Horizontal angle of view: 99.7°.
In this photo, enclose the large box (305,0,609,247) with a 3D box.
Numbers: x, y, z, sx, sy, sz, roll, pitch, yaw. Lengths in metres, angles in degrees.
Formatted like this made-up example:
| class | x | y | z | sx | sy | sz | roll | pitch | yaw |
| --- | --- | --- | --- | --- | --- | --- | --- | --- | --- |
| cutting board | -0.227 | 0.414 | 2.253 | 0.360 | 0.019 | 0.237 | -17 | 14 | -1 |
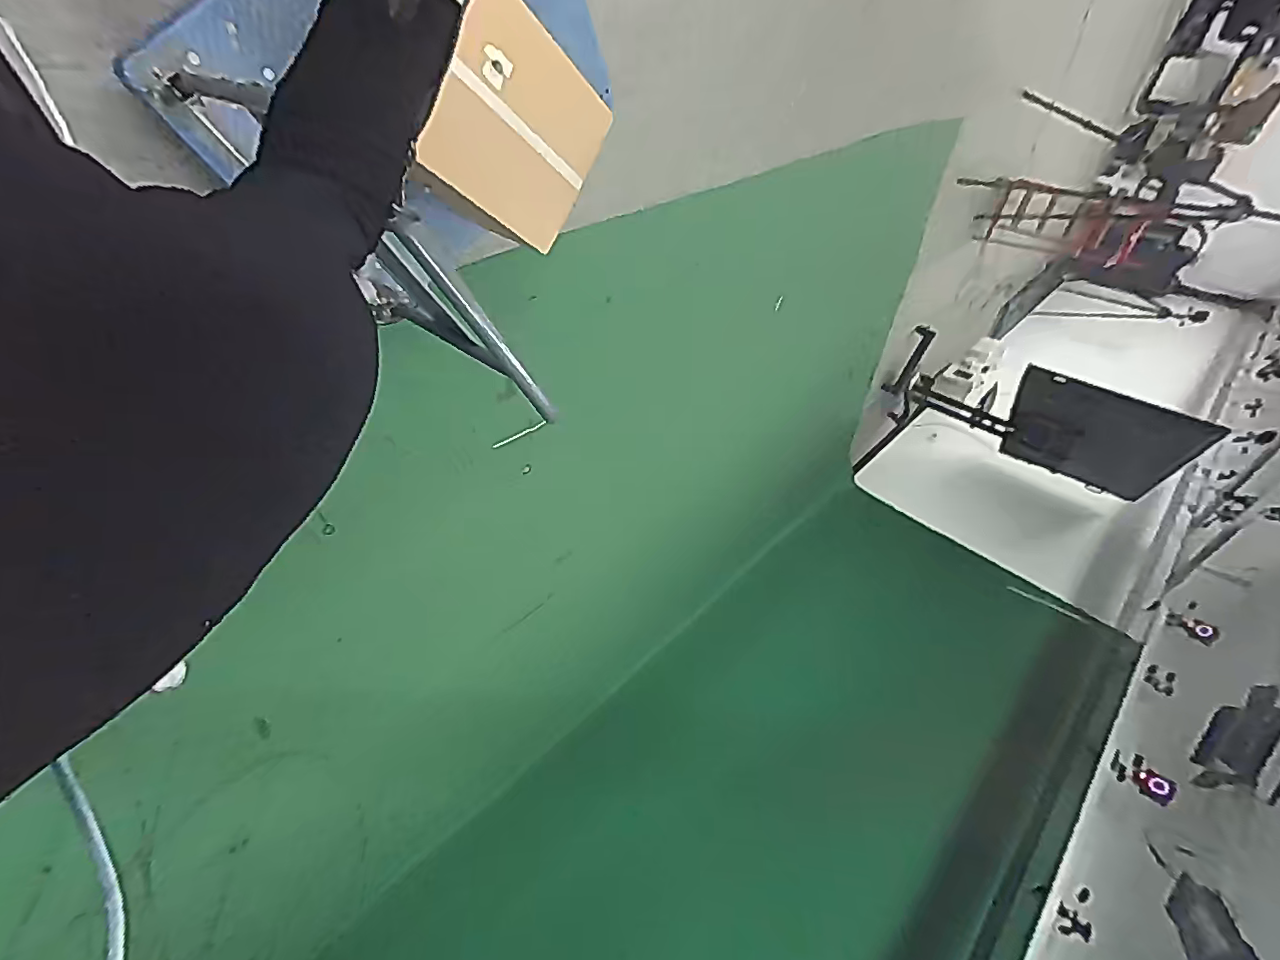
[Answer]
| class | x | y | z | sx | sy | sz | roll | pitch | yaw |
| --- | --- | --- | --- | --- | --- | --- | --- | --- | --- |
| large box | -0.344 | -0.727 | 1.057 | 0.408 | 0.320 | 0.320 | 15 | 106 | -55 |
